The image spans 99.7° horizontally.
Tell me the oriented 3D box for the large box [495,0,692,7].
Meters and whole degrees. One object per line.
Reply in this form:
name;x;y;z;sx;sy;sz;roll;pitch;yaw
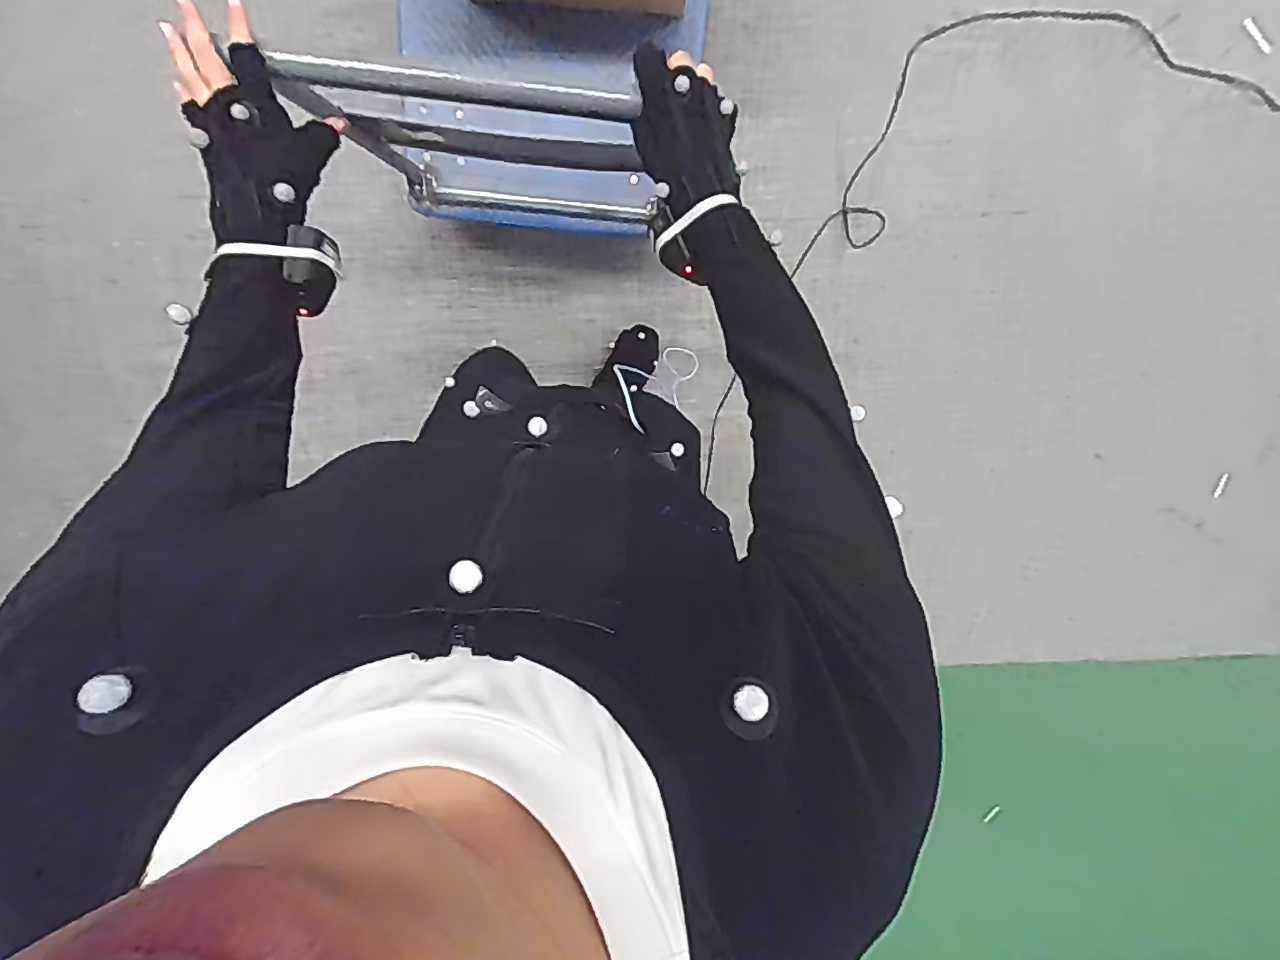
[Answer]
large box;-0.099;-0.969;0.811;0.408;0.320;0.320;3;111;0
